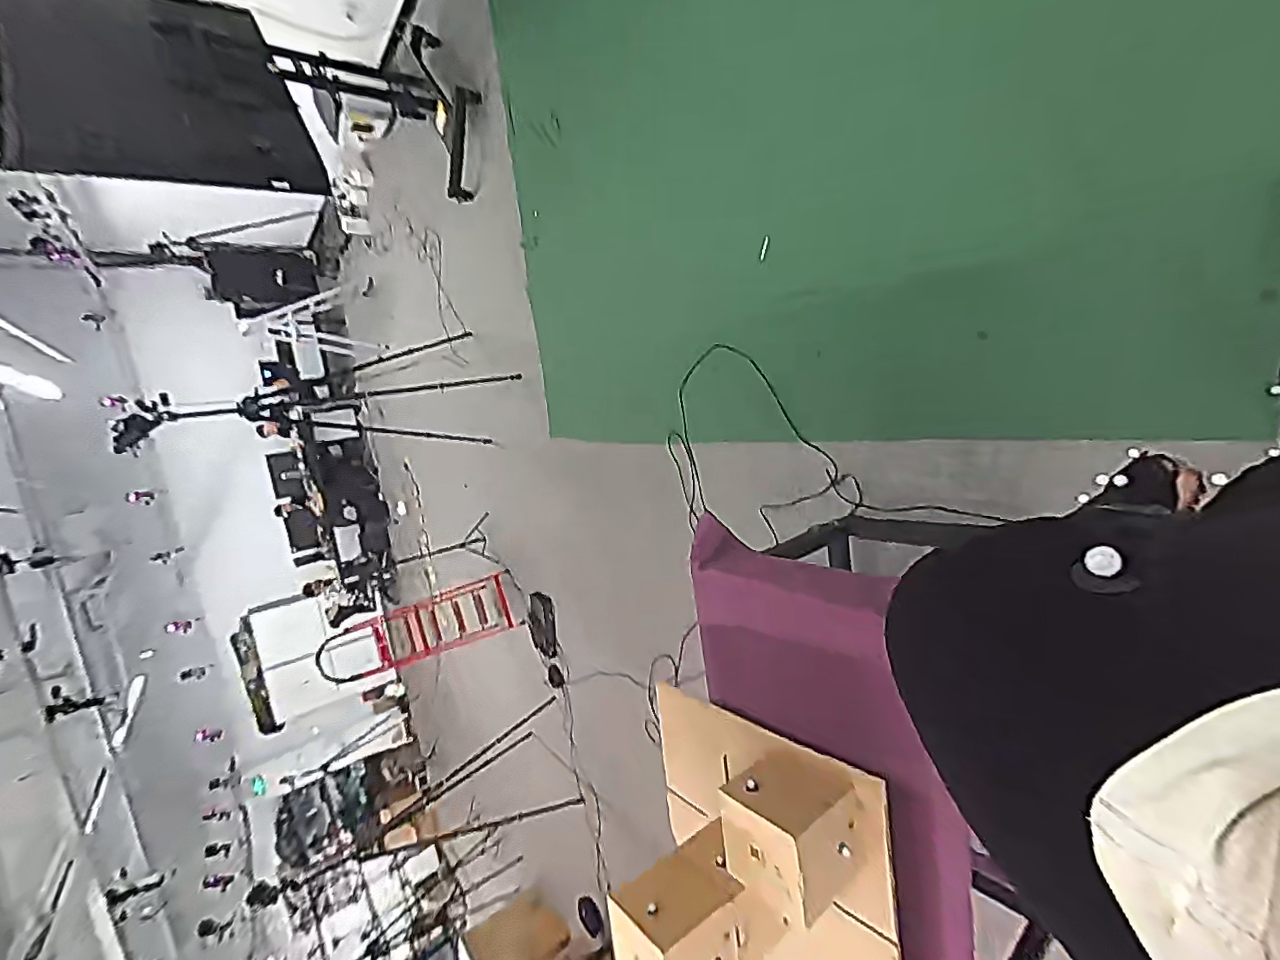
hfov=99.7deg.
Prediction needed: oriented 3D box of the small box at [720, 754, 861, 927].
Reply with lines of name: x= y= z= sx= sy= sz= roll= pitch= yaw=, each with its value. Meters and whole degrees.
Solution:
small box: x=0.270 y=0.625 z=0.970 sx=0.179 sy=0.176 sz=0.168 roll=0 pitch=99 yaw=52

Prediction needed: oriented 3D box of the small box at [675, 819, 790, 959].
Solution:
small box: x=0.197 y=0.835 z=1.114 sx=0.179 sy=0.176 sz=0.168 roll=-1 pitch=96 yaw=53

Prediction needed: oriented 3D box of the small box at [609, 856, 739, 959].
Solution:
small box: x=0.065 y=0.860 z=1.023 sx=0.179 sy=0.176 sz=0.168 roll=-3 pitch=95 yaw=52
